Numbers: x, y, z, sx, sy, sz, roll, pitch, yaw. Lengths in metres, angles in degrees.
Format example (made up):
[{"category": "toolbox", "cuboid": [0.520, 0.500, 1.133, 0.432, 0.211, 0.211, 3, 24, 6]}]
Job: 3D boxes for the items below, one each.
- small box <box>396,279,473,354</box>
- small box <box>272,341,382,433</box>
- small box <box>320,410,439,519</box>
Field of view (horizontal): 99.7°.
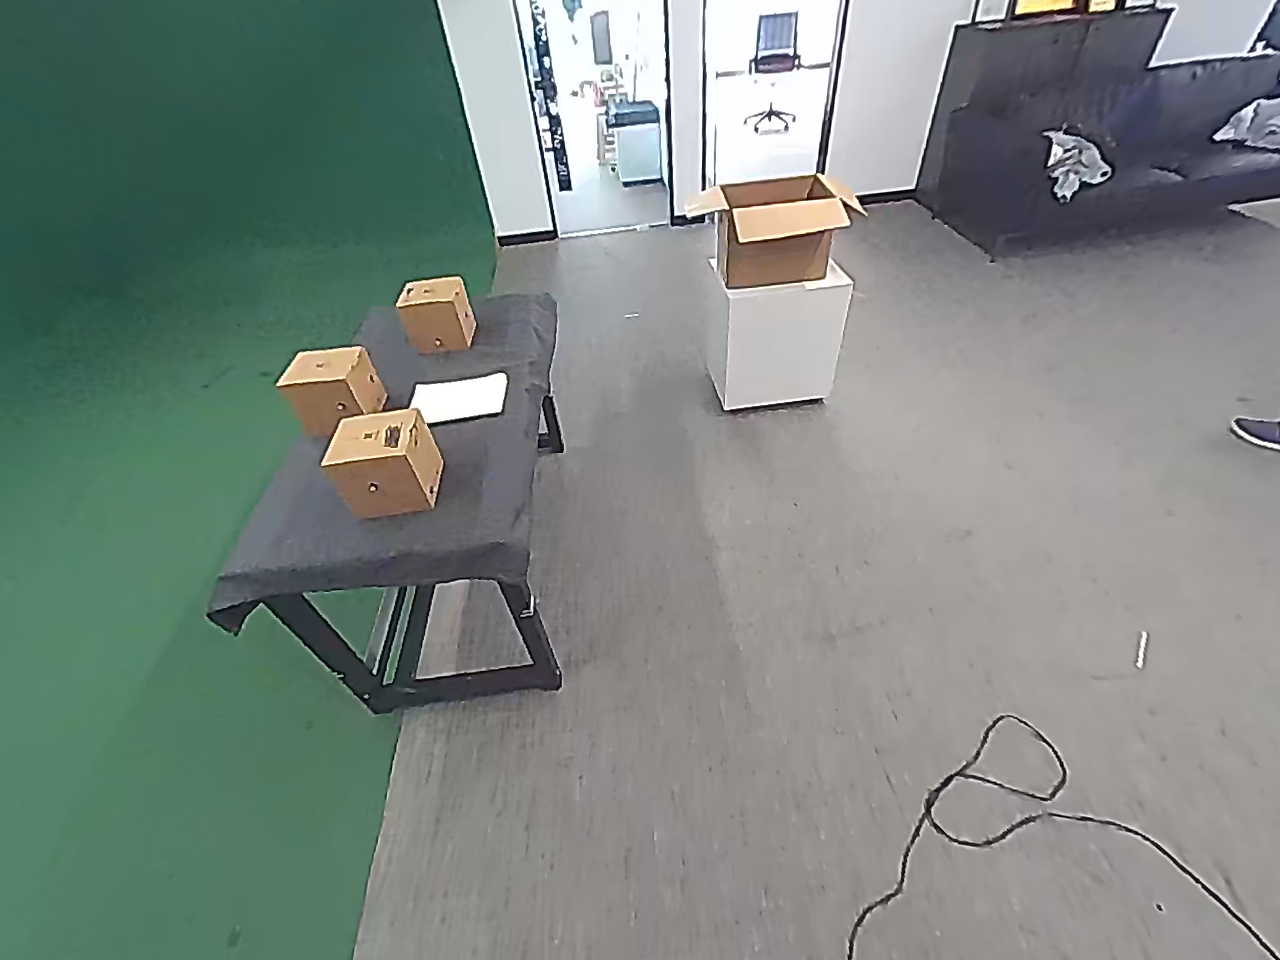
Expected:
[{"category": "small box", "cuboid": [-0.644, -0.519, 1.720, 0.179, 0.176, 0.168, -5, 44, -2]}, {"category": "small box", "cuboid": [-0.814, -0.244, 1.431, 0.179, 0.176, 0.168, -7, 43, -2]}, {"category": "small box", "cuboid": [-0.567, -0.033, 1.210, 0.179, 0.176, 0.168, -8, 43, -2]}]
